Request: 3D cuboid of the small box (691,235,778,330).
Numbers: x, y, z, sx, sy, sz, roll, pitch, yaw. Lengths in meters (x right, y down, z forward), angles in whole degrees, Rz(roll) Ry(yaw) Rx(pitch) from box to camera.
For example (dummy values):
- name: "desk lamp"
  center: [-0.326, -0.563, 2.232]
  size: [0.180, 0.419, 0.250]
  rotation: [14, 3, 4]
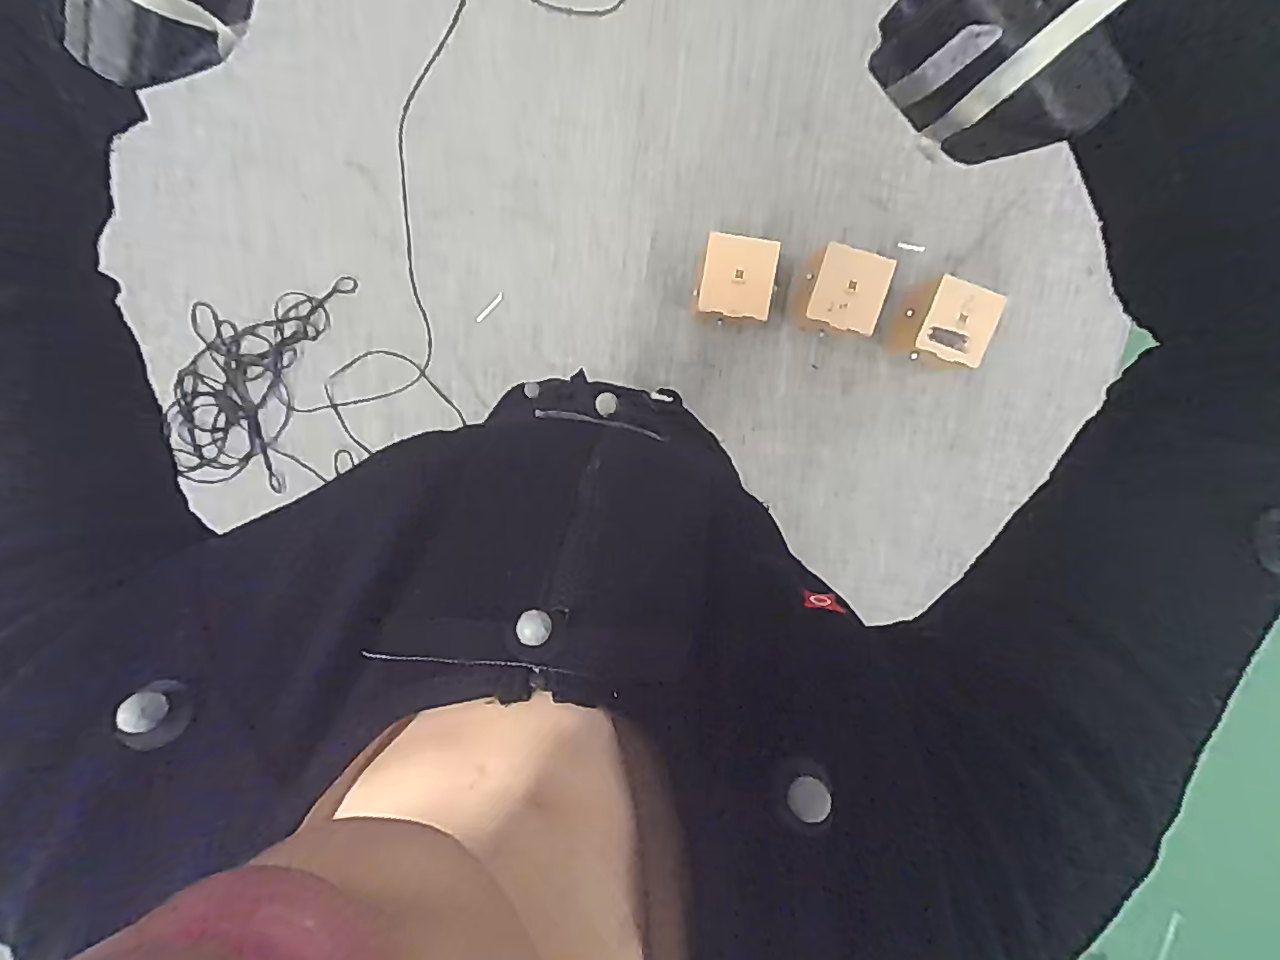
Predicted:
- name: "small box"
  center: [0.221, -0.472, 1.313]
  size: [0.168, 0.176, 0.179]
  rotation: [8, 100, -1]

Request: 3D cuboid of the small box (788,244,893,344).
- name: "small box"
  center: [0.477, -0.444, 1.317]
  size: [0.168, 0.176, 0.179]
  rotation: [16, 100, -2]
